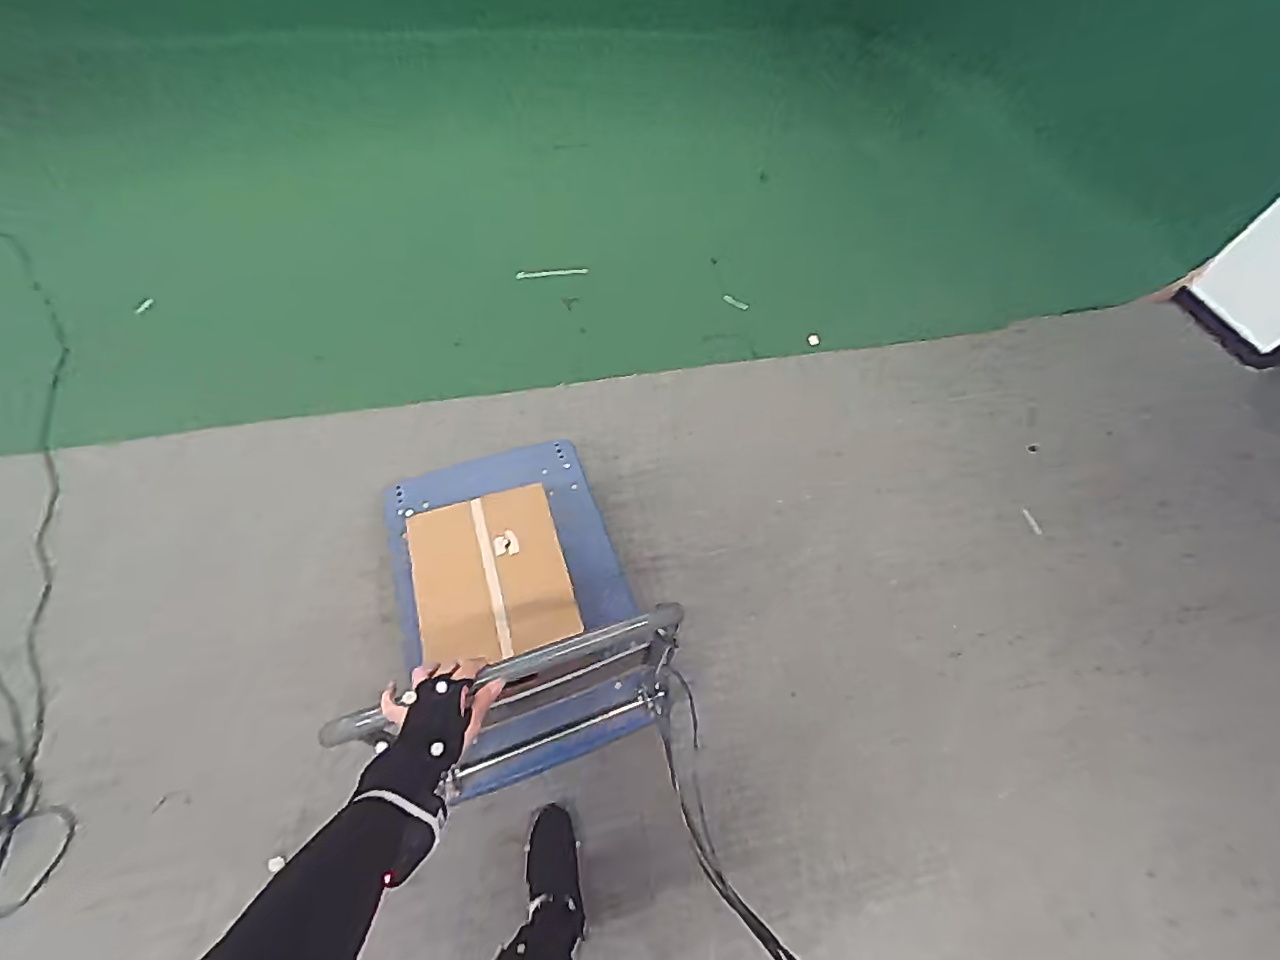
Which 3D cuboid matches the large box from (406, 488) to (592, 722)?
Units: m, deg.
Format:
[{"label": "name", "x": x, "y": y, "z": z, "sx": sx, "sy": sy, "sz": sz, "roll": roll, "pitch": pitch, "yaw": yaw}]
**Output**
[{"label": "large box", "x": -0.320, "y": 0.295, "z": 1.272, "sx": 0.320, "sy": 0.320, "sz": 0.408, "roll": -15, "pitch": 59, "yaw": -12}]
